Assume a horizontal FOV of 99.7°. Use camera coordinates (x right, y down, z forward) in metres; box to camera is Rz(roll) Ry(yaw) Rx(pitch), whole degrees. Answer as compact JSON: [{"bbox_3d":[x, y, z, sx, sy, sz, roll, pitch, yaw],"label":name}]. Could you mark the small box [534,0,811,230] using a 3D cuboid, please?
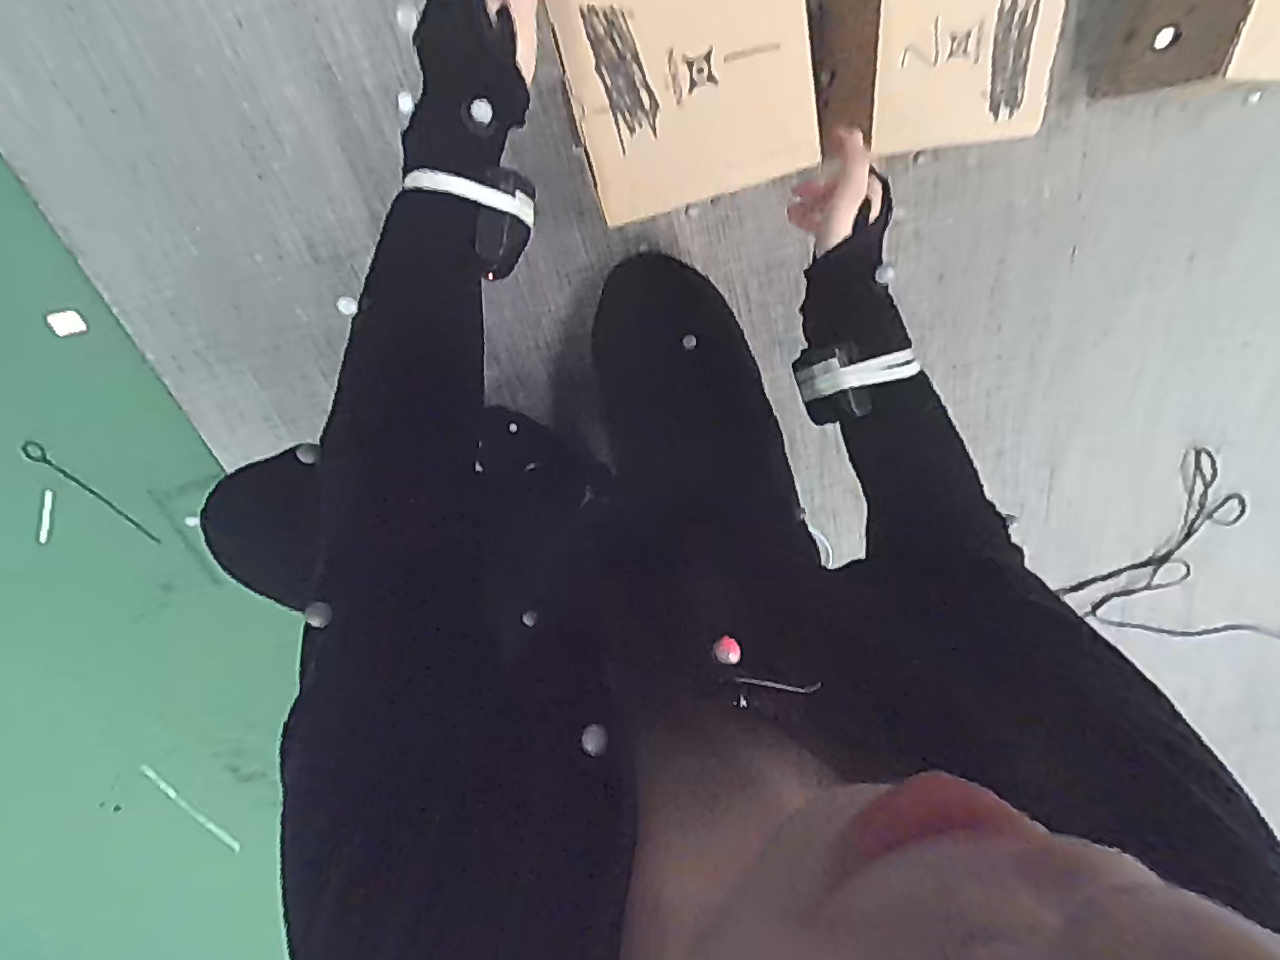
[{"bbox_3d":[0.028,-0.324,0.463,0.179,0.176,0.168,-15,117,5],"label":"small box"}]
